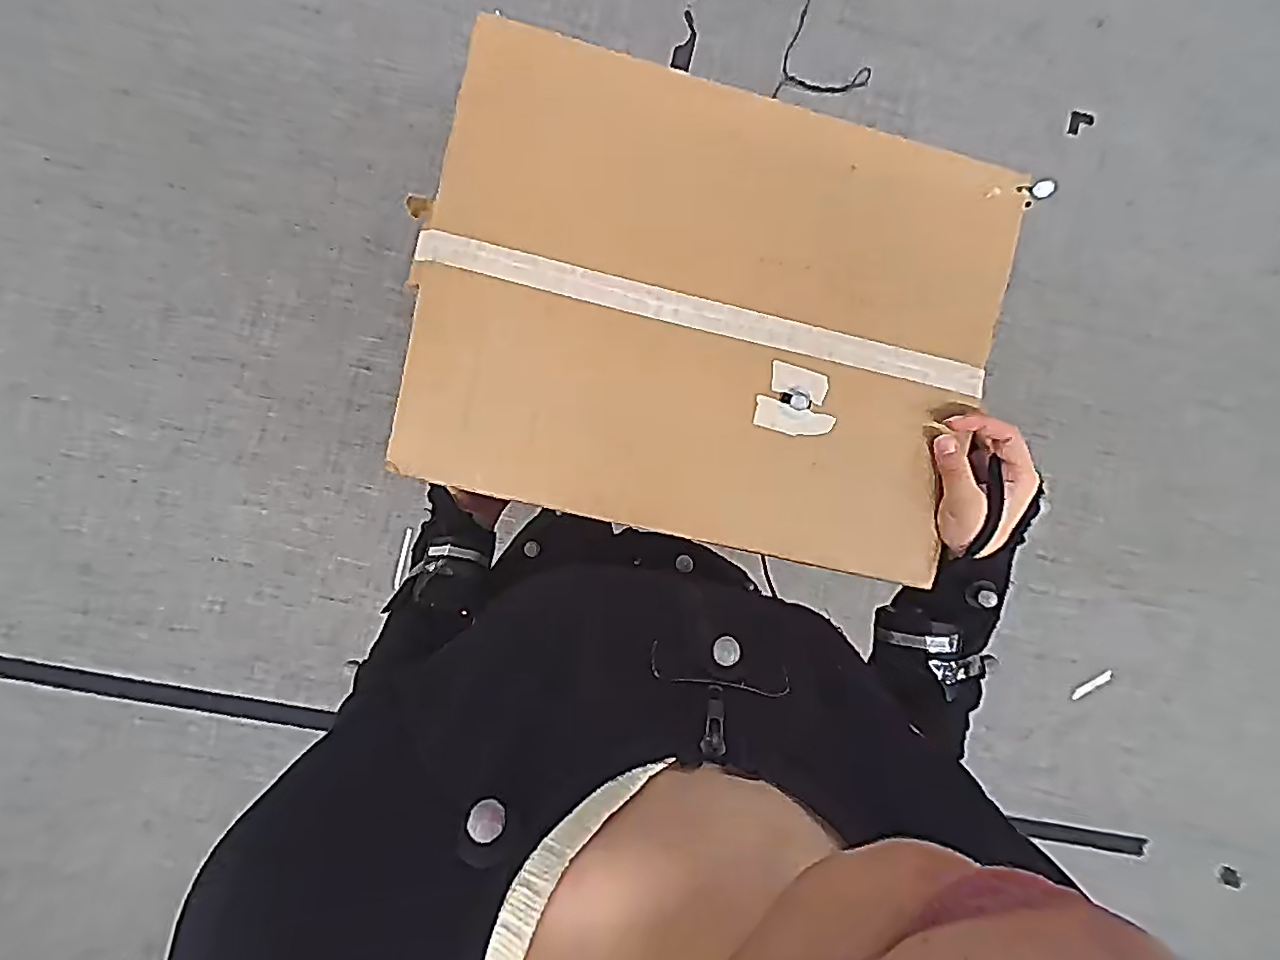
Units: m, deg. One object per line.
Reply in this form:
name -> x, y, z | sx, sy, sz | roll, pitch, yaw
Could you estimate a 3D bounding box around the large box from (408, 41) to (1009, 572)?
large box -> 0.042, -0.122, 0.540 | 0.408, 0.320, 0.320 | 12, 93, -6
